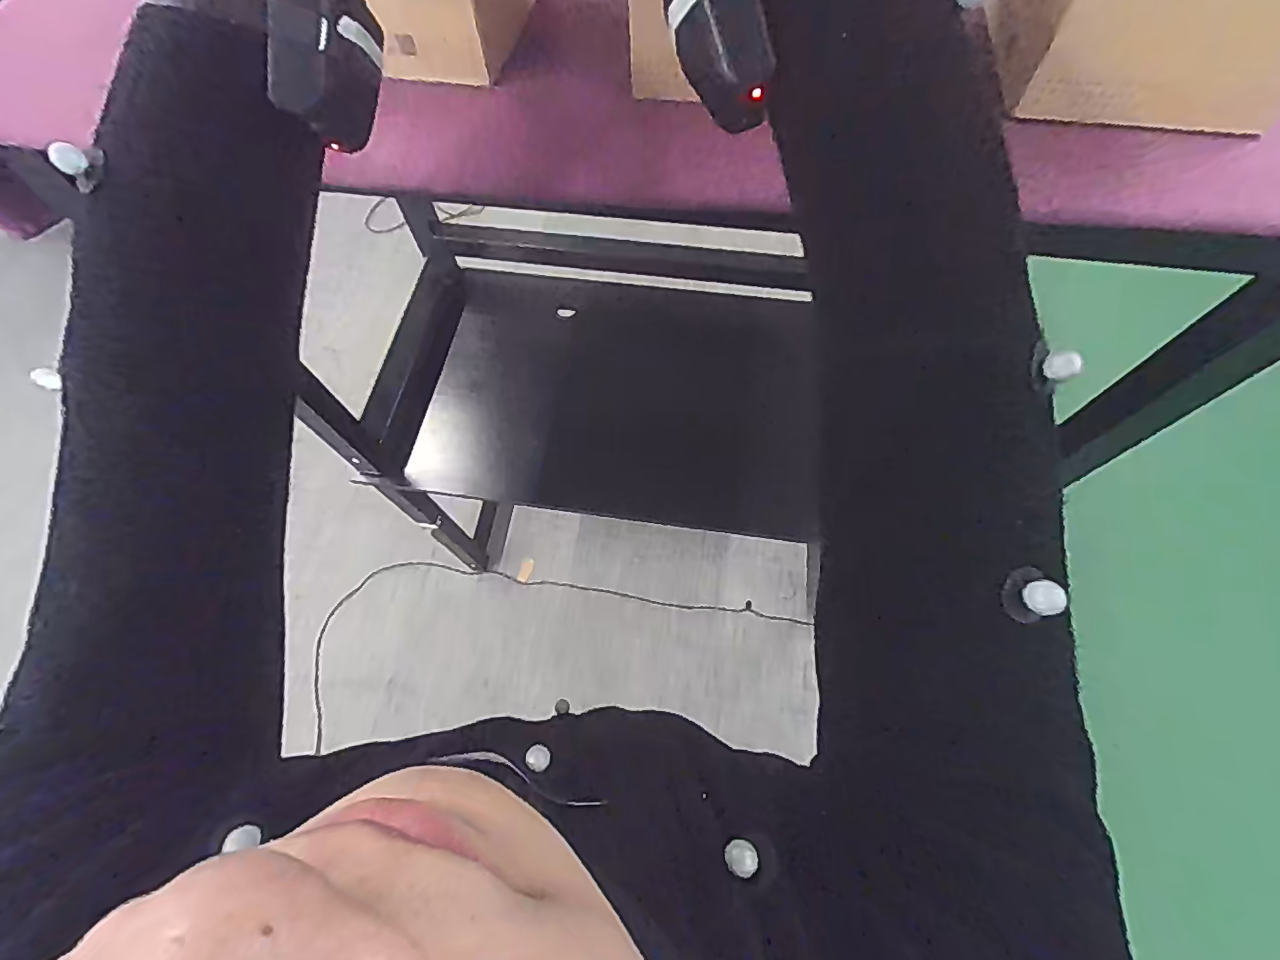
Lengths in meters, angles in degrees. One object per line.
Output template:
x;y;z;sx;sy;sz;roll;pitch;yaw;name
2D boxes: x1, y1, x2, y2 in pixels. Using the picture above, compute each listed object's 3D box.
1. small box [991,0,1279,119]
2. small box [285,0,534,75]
0.365;-0.375;0.360;0.179;0.176;0.168;8;65;4;small box
-0.181;-0.441;0.402;0.168;0.176;0.179;9;65;4;small box
